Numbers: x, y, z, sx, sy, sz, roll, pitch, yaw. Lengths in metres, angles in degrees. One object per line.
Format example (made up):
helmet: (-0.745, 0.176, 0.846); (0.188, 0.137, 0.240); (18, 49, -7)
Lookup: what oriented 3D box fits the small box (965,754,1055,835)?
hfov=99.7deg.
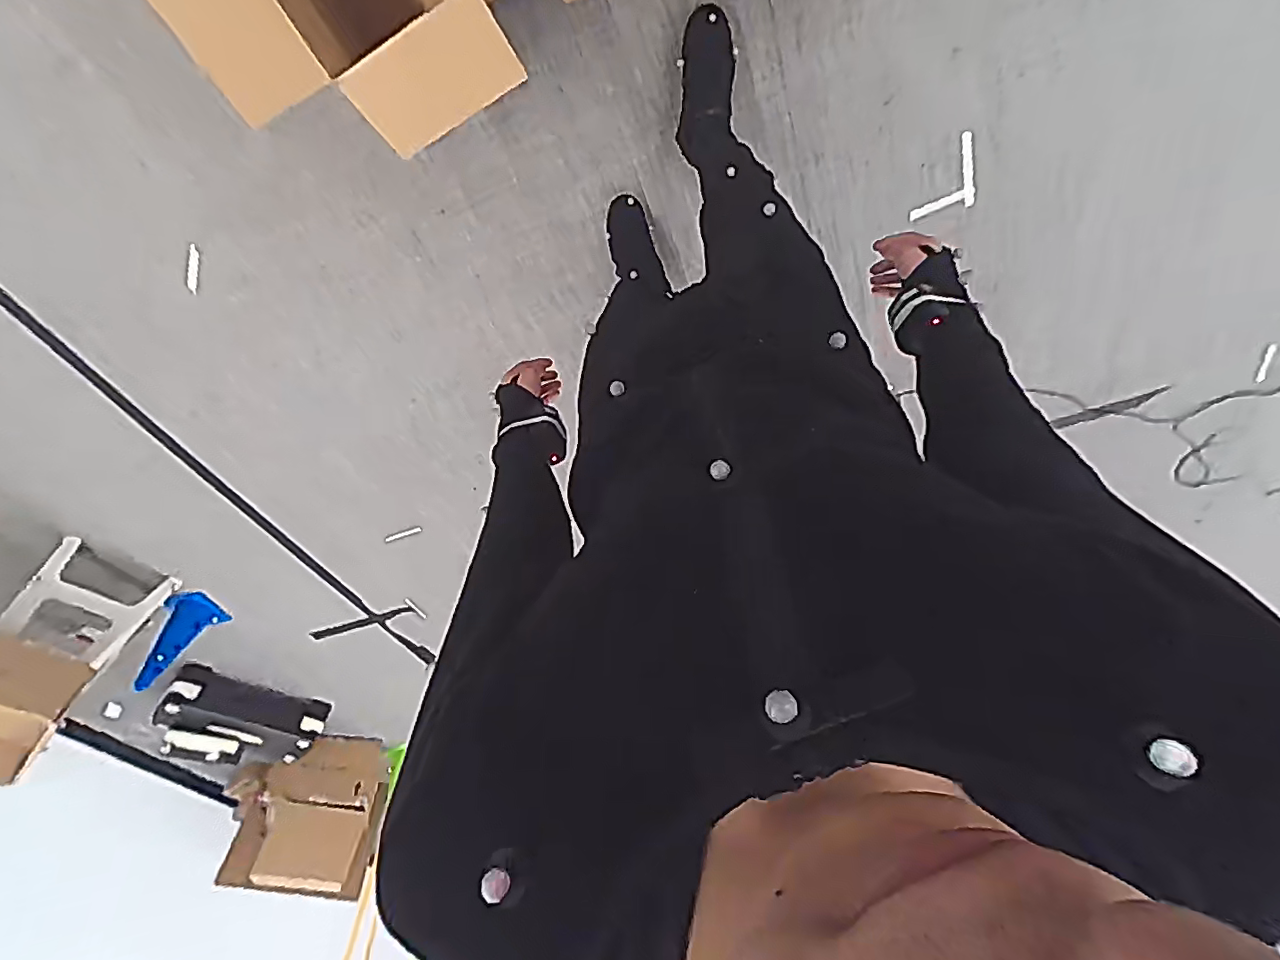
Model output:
small box: (1.171, 0.999, 1.722); (0.179, 0.176, 0.168); (-19, 127, 12)

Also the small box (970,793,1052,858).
small box: (1.274, 1.168, 1.862); (0.179, 0.176, 0.168); (-20, 126, 13)
